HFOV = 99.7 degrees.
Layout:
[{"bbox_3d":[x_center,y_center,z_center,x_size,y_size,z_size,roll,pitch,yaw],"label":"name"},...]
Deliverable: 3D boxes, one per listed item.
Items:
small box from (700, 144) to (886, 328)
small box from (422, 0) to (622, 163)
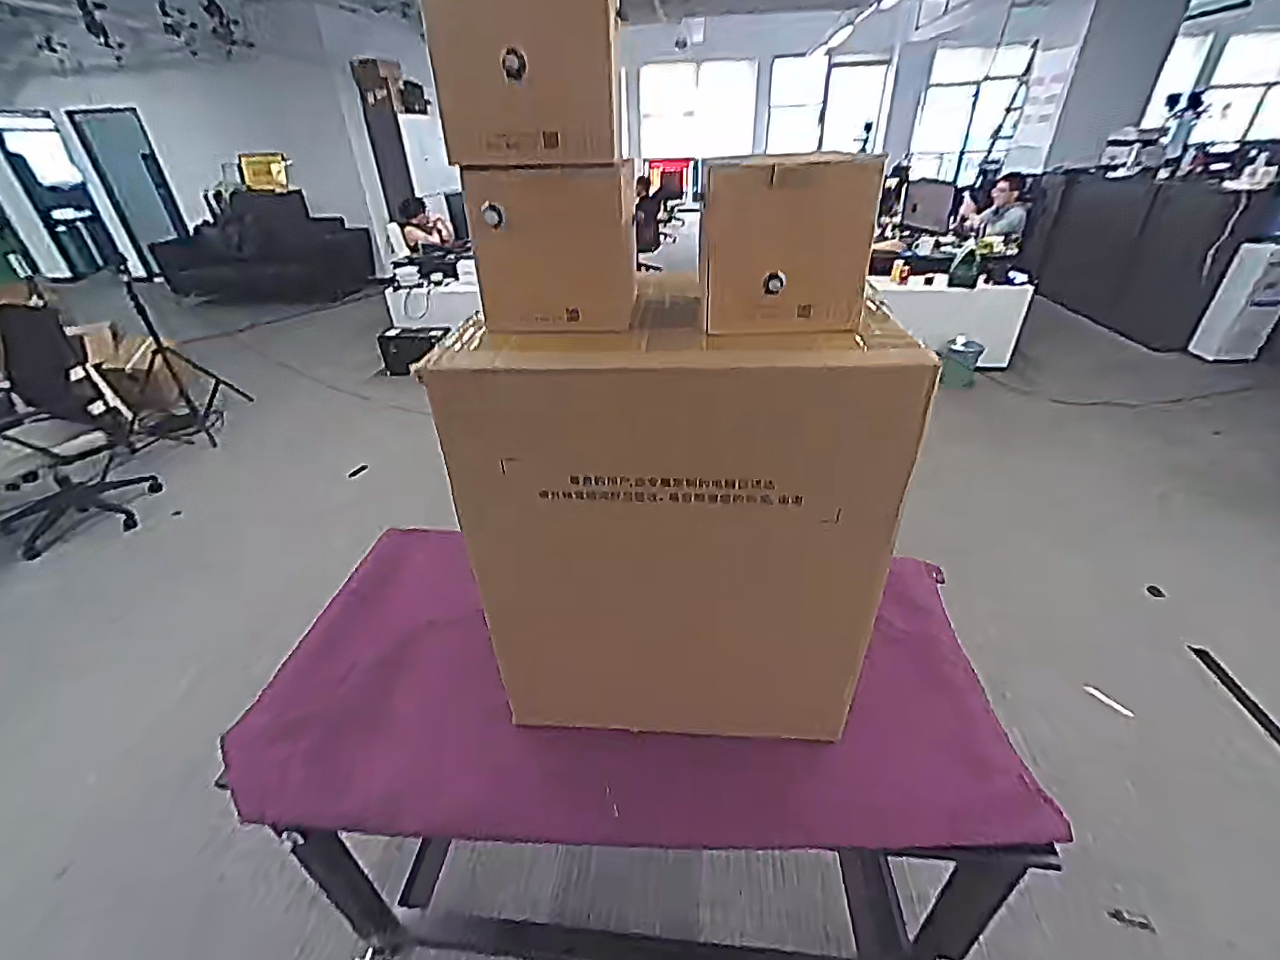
[{"bbox_3d":[0.156,-0.282,0.620,0.168,0.176,0.179,-1,33,4],"label":"small box"},{"bbox_3d":[-0.106,-0.426,0.554,0.168,0.176,0.179,0,32,1],"label":"small box"}]
